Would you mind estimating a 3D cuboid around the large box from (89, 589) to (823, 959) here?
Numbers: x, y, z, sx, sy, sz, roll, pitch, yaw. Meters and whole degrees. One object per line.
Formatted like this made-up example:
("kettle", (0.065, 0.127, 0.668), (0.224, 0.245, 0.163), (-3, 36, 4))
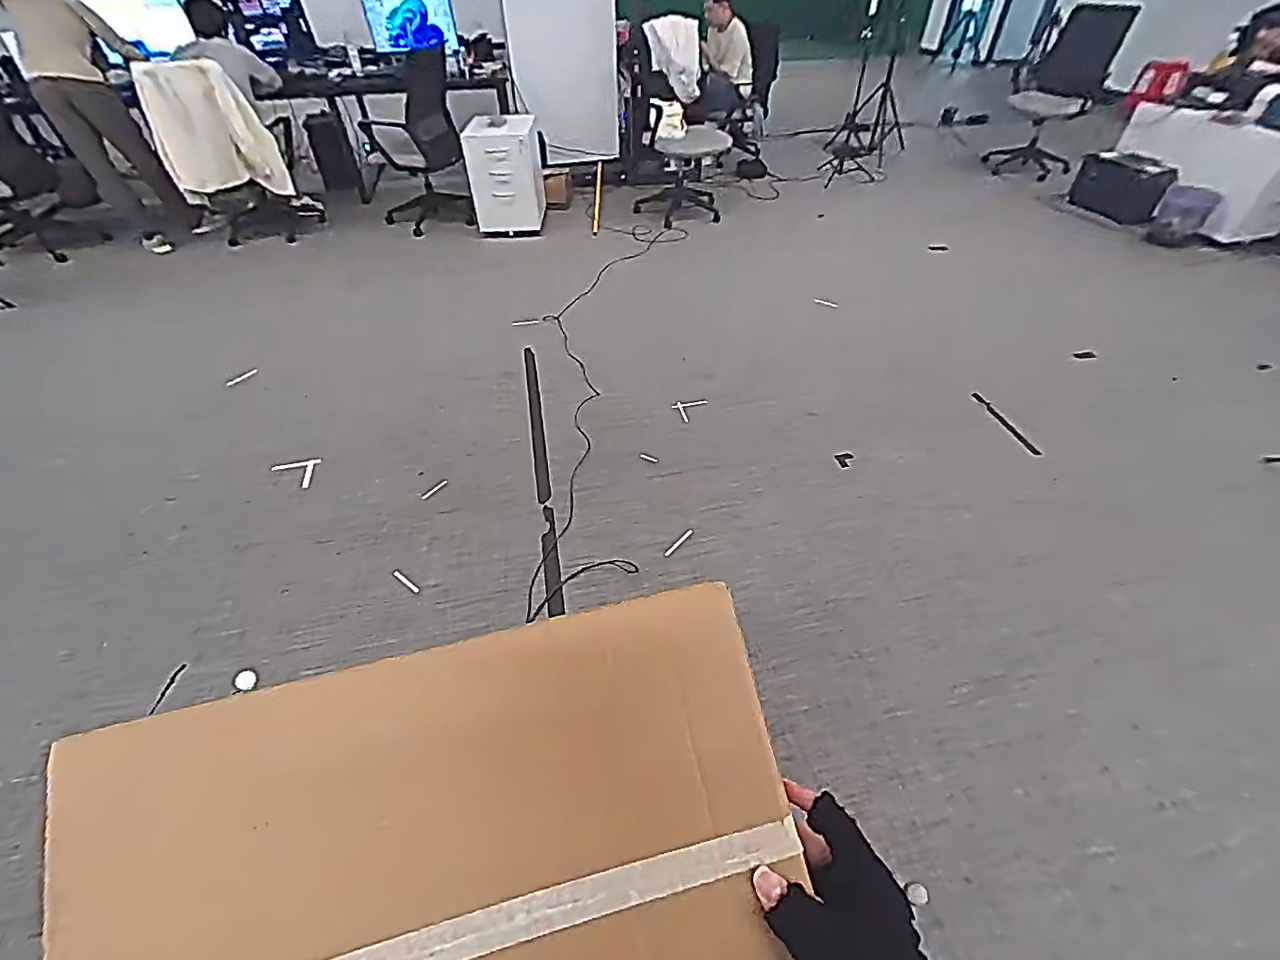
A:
("large box", (-0.111, 0.301, 0.452), (0.408, 0.320, 0.320), (-12, 76, -7))
